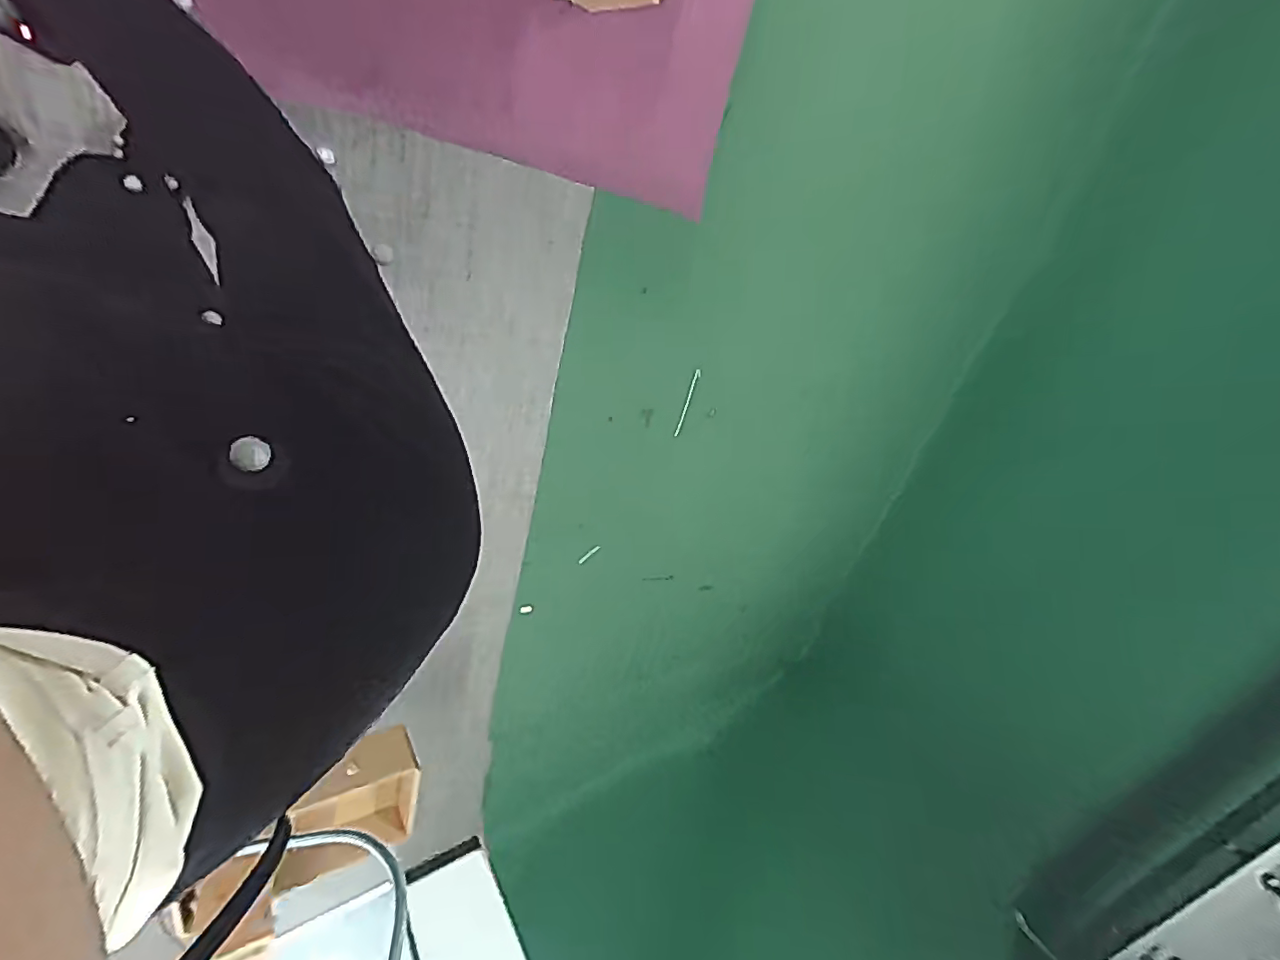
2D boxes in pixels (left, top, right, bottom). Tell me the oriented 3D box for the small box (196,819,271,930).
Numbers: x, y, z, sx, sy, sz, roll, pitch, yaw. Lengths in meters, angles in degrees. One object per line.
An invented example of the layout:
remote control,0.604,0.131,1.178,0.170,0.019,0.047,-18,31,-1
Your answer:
small box,-1.170,1.132,1.563,0.168,0.176,0.179,-4,123,-37

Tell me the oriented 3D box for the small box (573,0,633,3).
small box,-0.066,-0.676,0.601,0.168,0.176,0.179,-5,124,-38
